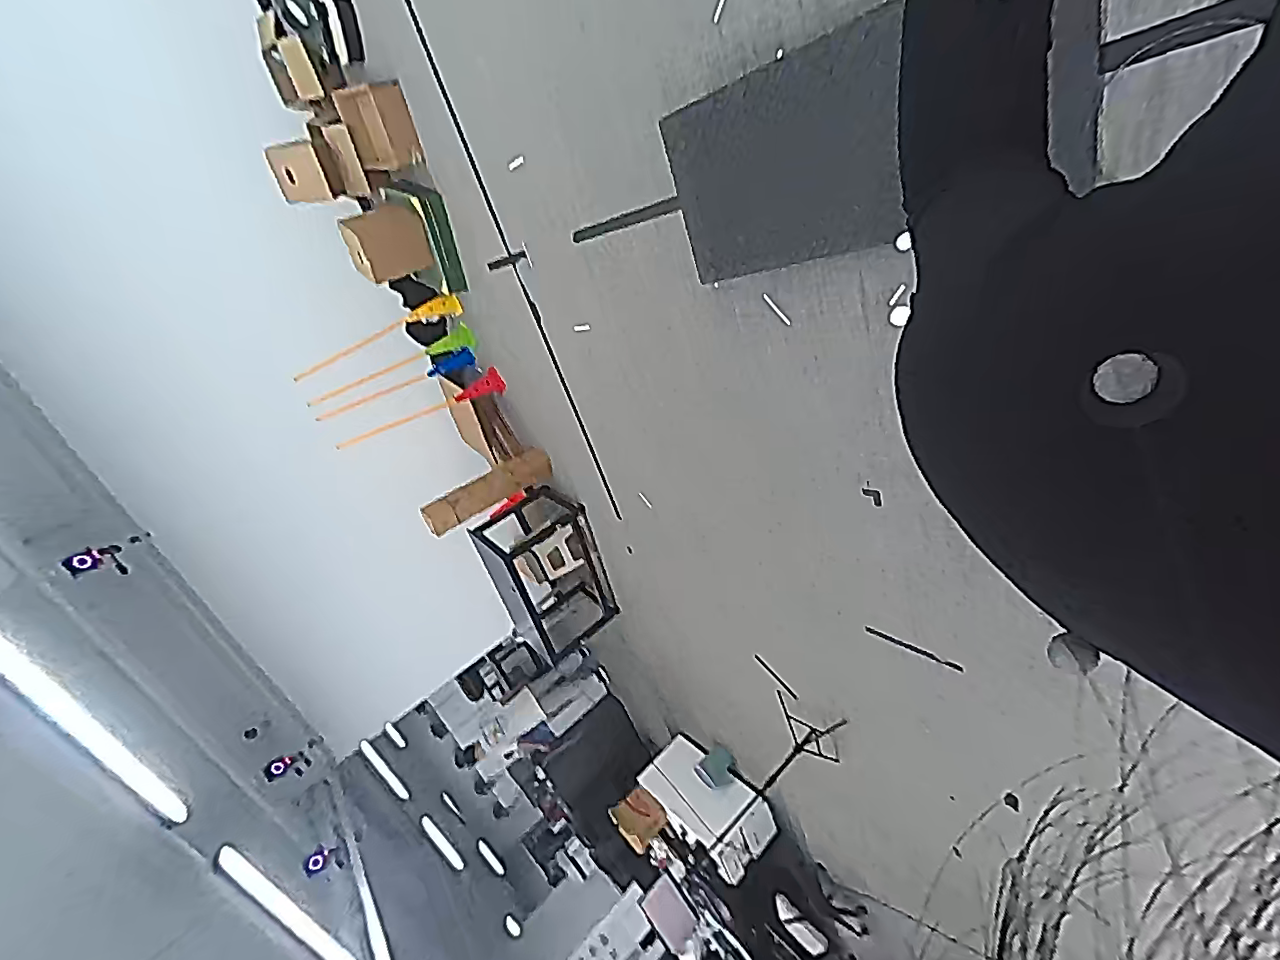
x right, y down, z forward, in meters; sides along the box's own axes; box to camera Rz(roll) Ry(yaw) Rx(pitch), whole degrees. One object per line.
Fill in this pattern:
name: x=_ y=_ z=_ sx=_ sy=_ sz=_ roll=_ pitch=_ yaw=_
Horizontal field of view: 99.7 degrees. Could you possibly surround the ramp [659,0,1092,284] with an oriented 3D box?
ramp: x=0.496 y=-0.831 z=1.368 sx=0.991 sy=0.206 sz=0.509 roll=12 pitch=129 yaw=52
